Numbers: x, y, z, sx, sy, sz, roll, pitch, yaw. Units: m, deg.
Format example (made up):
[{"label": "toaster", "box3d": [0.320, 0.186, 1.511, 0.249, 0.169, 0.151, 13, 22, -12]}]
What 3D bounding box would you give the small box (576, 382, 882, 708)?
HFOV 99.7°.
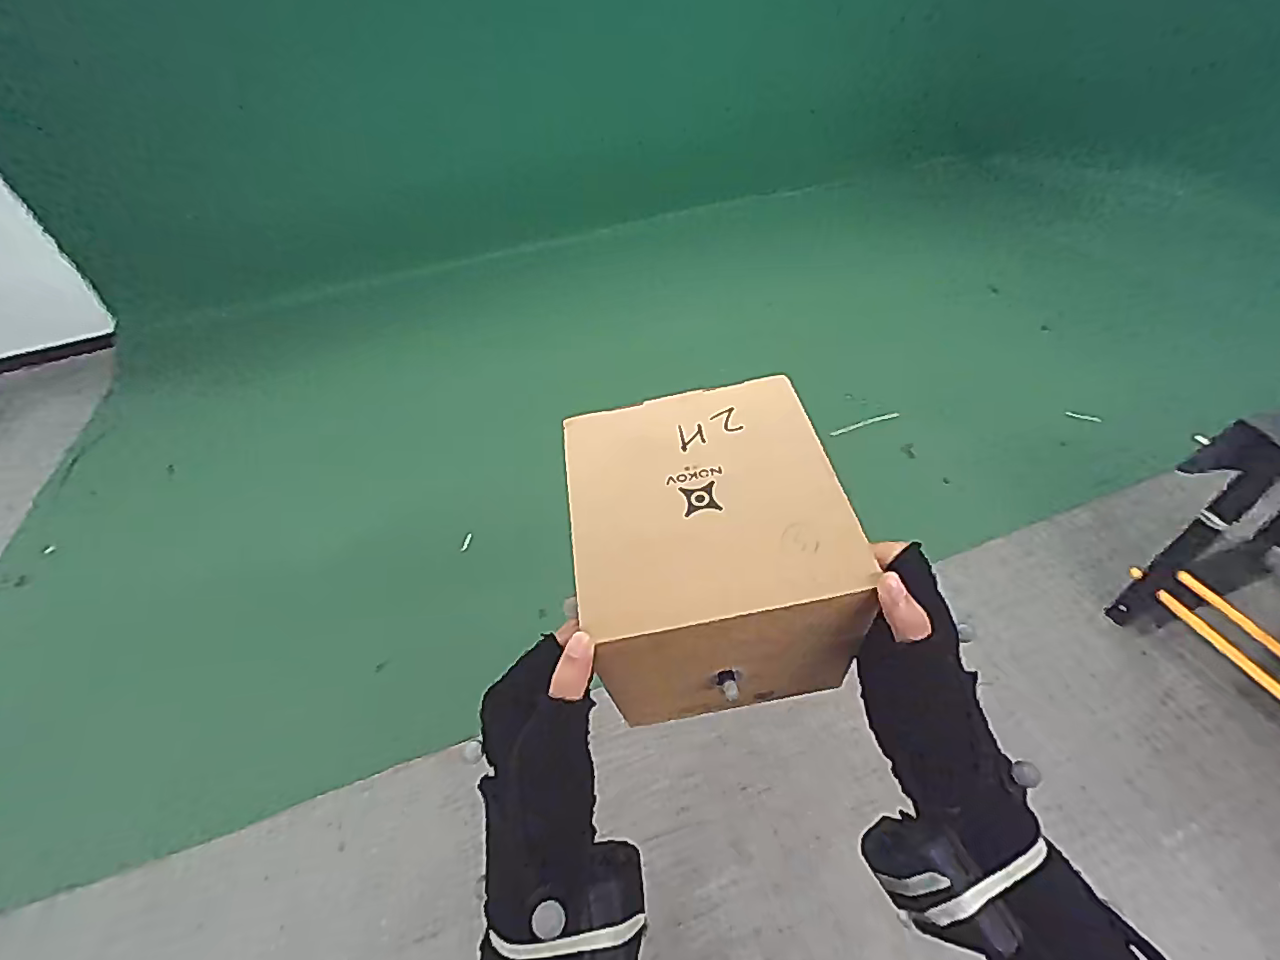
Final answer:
[{"label": "small box", "box3d": [0.054, 0.058, 0.409, 0.168, 0.176, 0.179, -11, 51, 0]}]
